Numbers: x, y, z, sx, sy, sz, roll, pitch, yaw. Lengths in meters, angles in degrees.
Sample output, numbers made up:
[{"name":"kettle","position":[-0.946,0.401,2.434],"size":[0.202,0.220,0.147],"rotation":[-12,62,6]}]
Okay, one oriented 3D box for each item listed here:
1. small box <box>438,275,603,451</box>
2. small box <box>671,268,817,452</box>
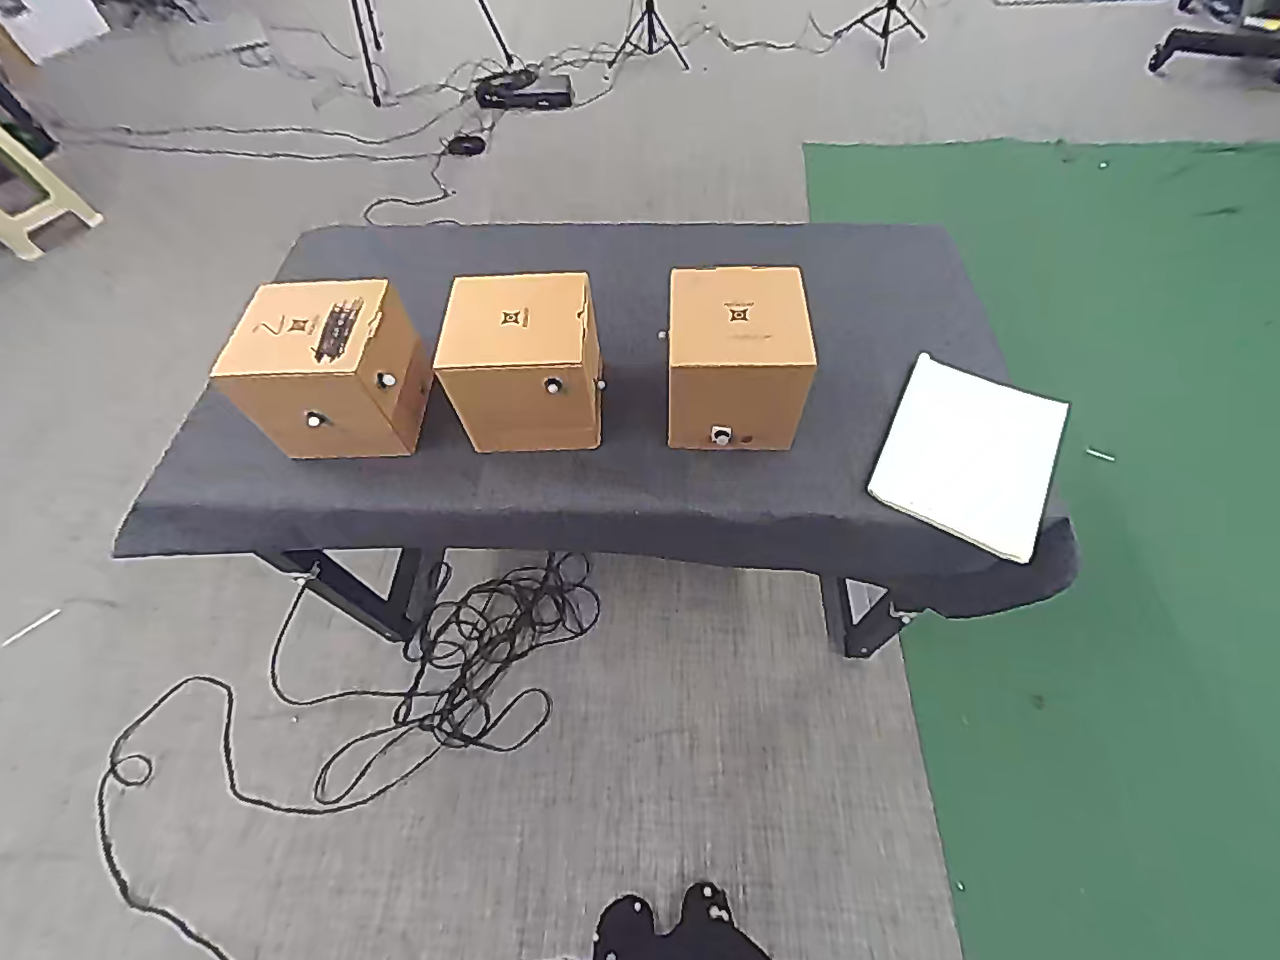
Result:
[{"name":"small box","position":[-0.146,-0.152,0.731],"size":[0.179,0.176,0.168],"rotation":[-2,57,0]},{"name":"small box","position":[0.125,-0.156,0.721],"size":[0.168,0.176,0.179],"rotation":[-1,58,4]}]
